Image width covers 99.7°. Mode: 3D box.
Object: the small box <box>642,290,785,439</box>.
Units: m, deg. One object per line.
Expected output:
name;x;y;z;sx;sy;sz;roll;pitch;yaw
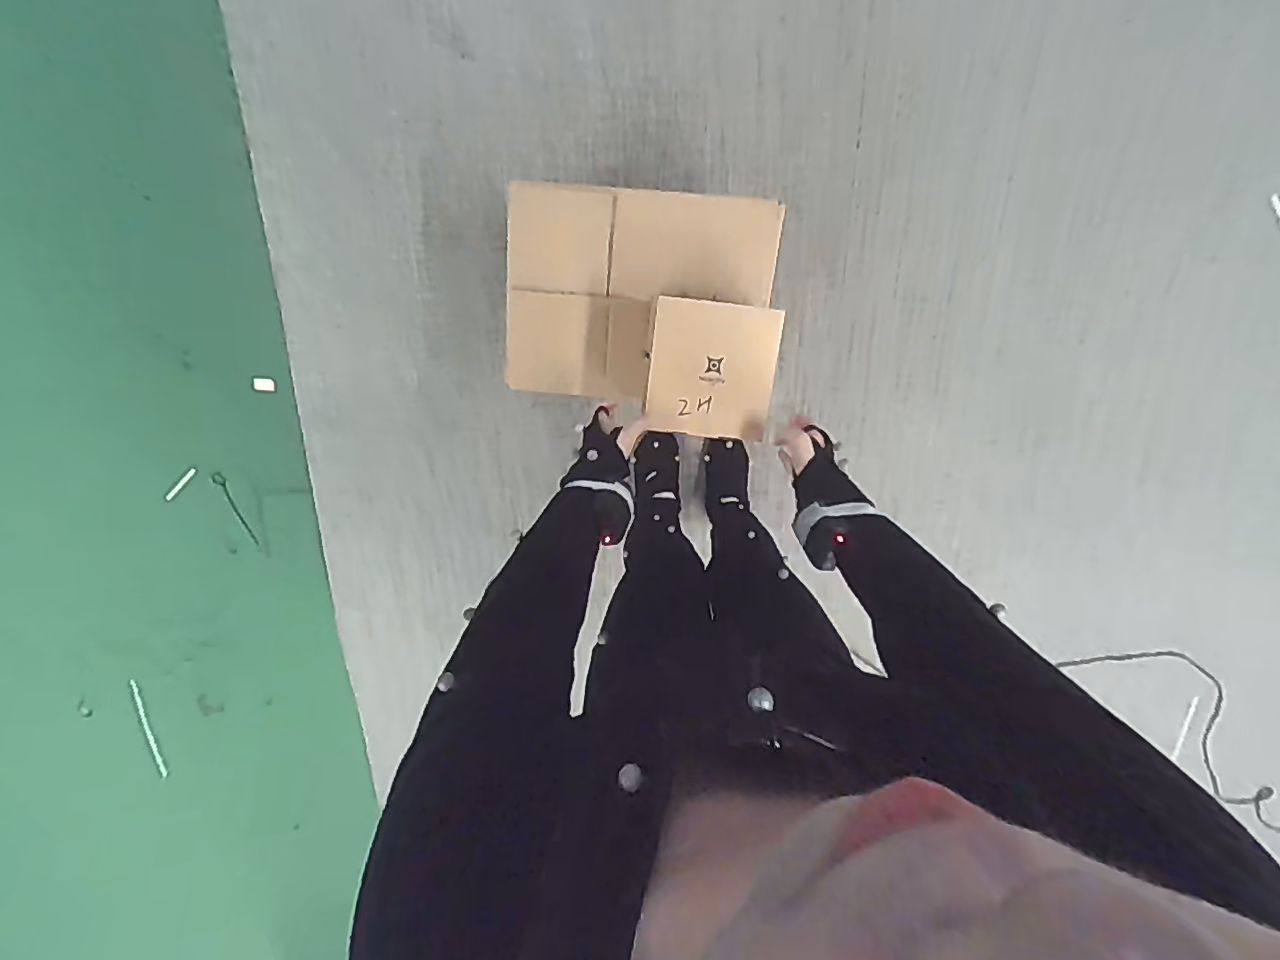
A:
small box;0.093;-0.169;0.782;0.168;0.176;0.179;6;106;-2
